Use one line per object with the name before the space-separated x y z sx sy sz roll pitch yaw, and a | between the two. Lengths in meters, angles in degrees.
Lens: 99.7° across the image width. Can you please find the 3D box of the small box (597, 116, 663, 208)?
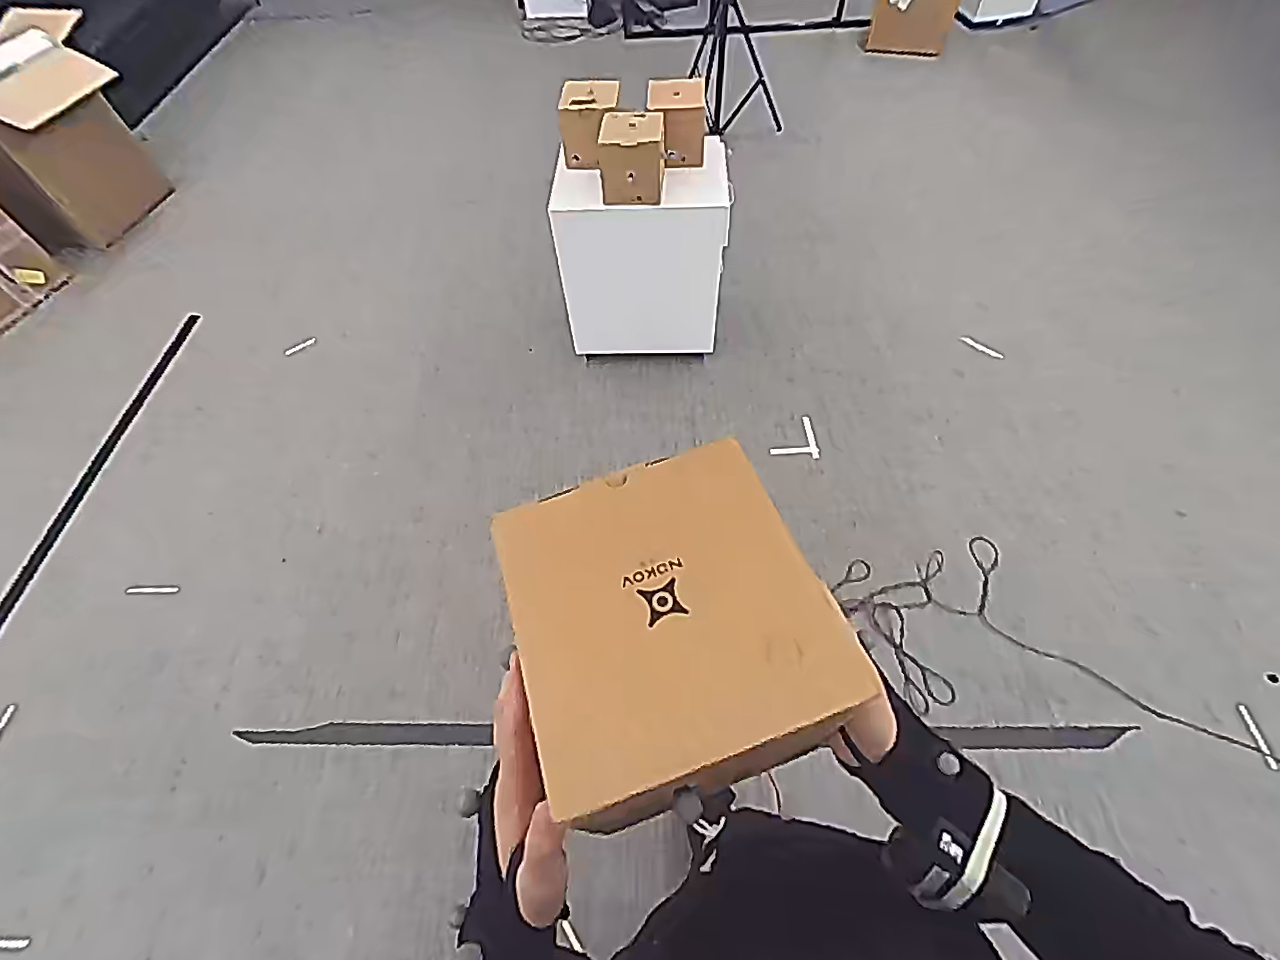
small box | -0.021 -0.883 1.508 0.168 0.176 0.179 2 57 4

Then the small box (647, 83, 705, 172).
small box | 0.107 -1.045 1.608 0.168 0.176 0.179 -1 59 4

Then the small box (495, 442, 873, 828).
small box | 0.019 0.110 0.363 0.168 0.176 0.179 -18 54 -7

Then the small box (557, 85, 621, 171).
small box | -0.143 -1.051 1.621 0.168 0.176 0.179 2 57 3
